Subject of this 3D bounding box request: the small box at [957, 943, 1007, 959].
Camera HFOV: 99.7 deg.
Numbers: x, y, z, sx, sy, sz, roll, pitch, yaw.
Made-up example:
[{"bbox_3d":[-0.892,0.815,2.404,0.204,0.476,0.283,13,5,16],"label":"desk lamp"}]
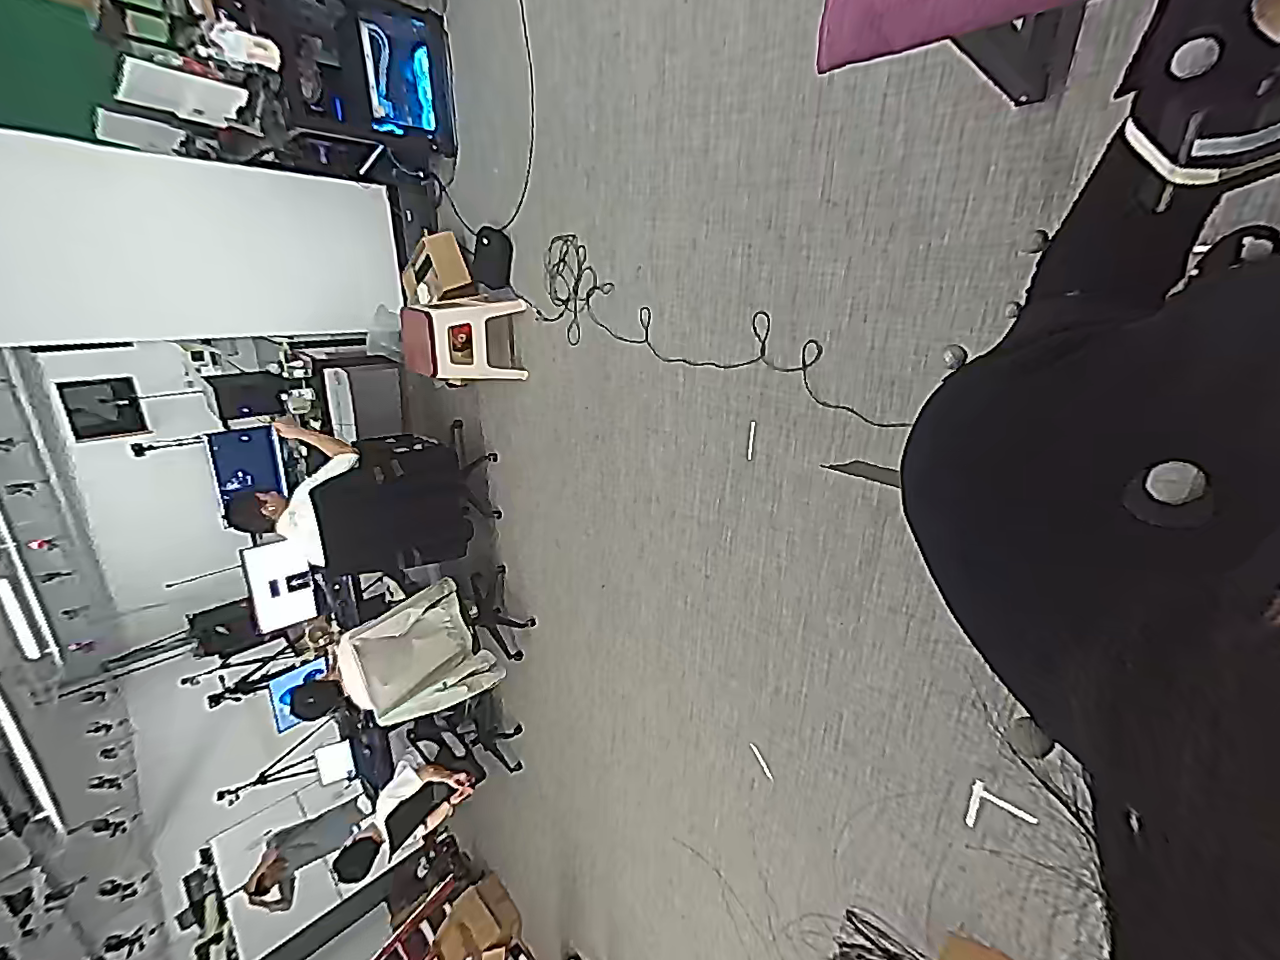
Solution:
[{"bbox_3d":[1.051,1.548,1.612,0.179,0.176,0.168,-14,92,50],"label":"small box"}]
